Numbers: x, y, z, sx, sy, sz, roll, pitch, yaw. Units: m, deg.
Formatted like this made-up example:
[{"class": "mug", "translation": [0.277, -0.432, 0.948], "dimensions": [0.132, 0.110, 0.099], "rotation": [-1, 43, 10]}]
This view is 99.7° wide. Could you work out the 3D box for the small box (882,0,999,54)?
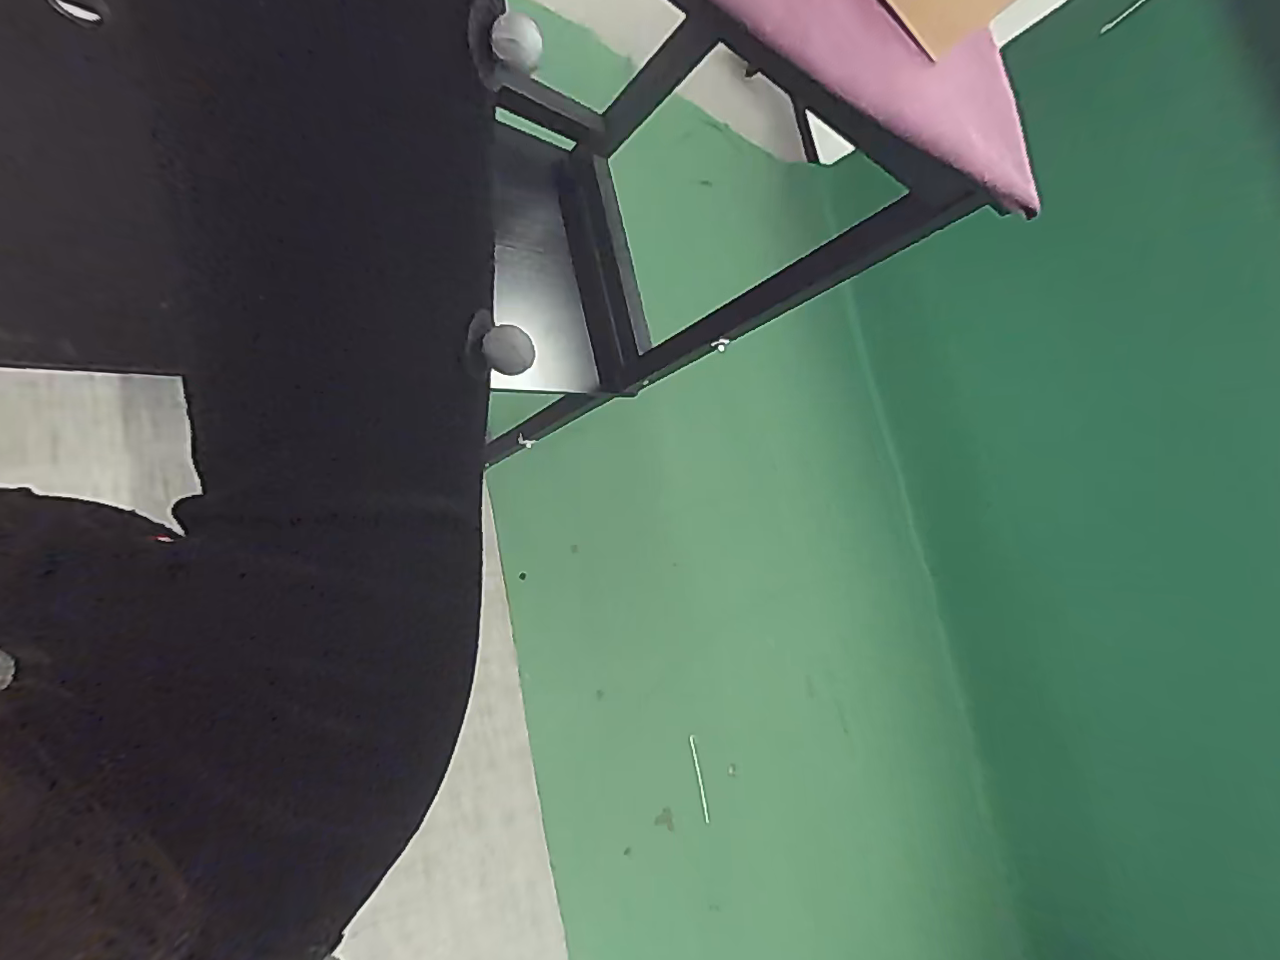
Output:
[{"class": "small box", "translation": [0.258, -0.505, 0.434], "dimensions": [0.179, 0.176, 0.168], "rotation": [-4, 78, -43]}]
